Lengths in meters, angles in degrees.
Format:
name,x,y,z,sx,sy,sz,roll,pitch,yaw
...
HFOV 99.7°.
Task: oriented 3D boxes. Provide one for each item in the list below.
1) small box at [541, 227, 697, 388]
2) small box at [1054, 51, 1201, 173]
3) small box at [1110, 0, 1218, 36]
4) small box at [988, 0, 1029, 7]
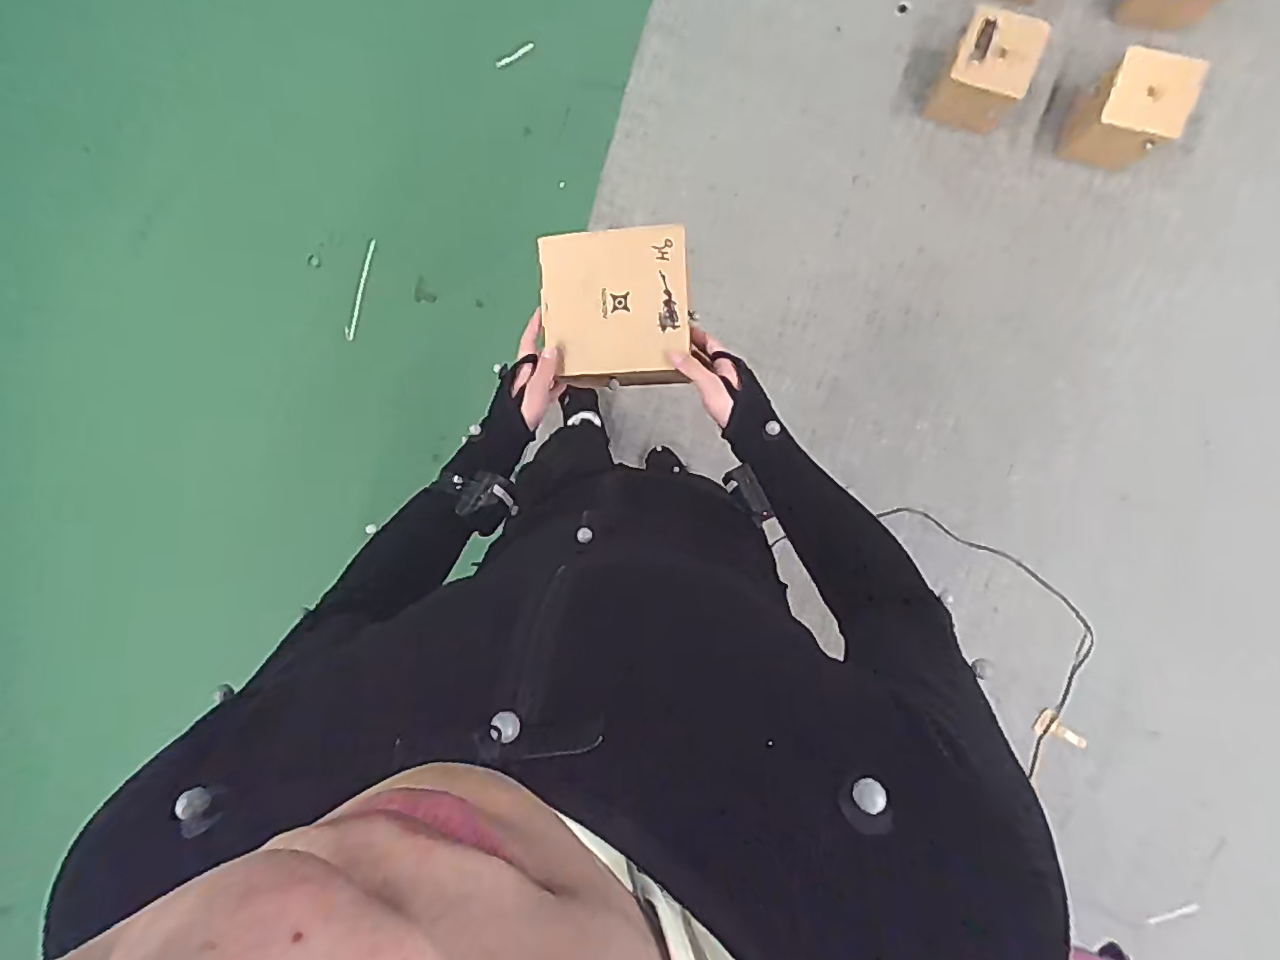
name,x,y,z,sx,sy,sz,roll,pitch,yaw
small box,-0.018,-0.210,0.703,0.179,0.176,0.168,0,94,7
small box,1.146,-0.866,1.290,0.179,0.176,0.168,17,98,5
small box,1.245,-1.171,1.240,0.179,0.176,0.168,17,98,5
small box,0.905,-1.275,1.276,0.179,0.176,0.168,18,97,6
